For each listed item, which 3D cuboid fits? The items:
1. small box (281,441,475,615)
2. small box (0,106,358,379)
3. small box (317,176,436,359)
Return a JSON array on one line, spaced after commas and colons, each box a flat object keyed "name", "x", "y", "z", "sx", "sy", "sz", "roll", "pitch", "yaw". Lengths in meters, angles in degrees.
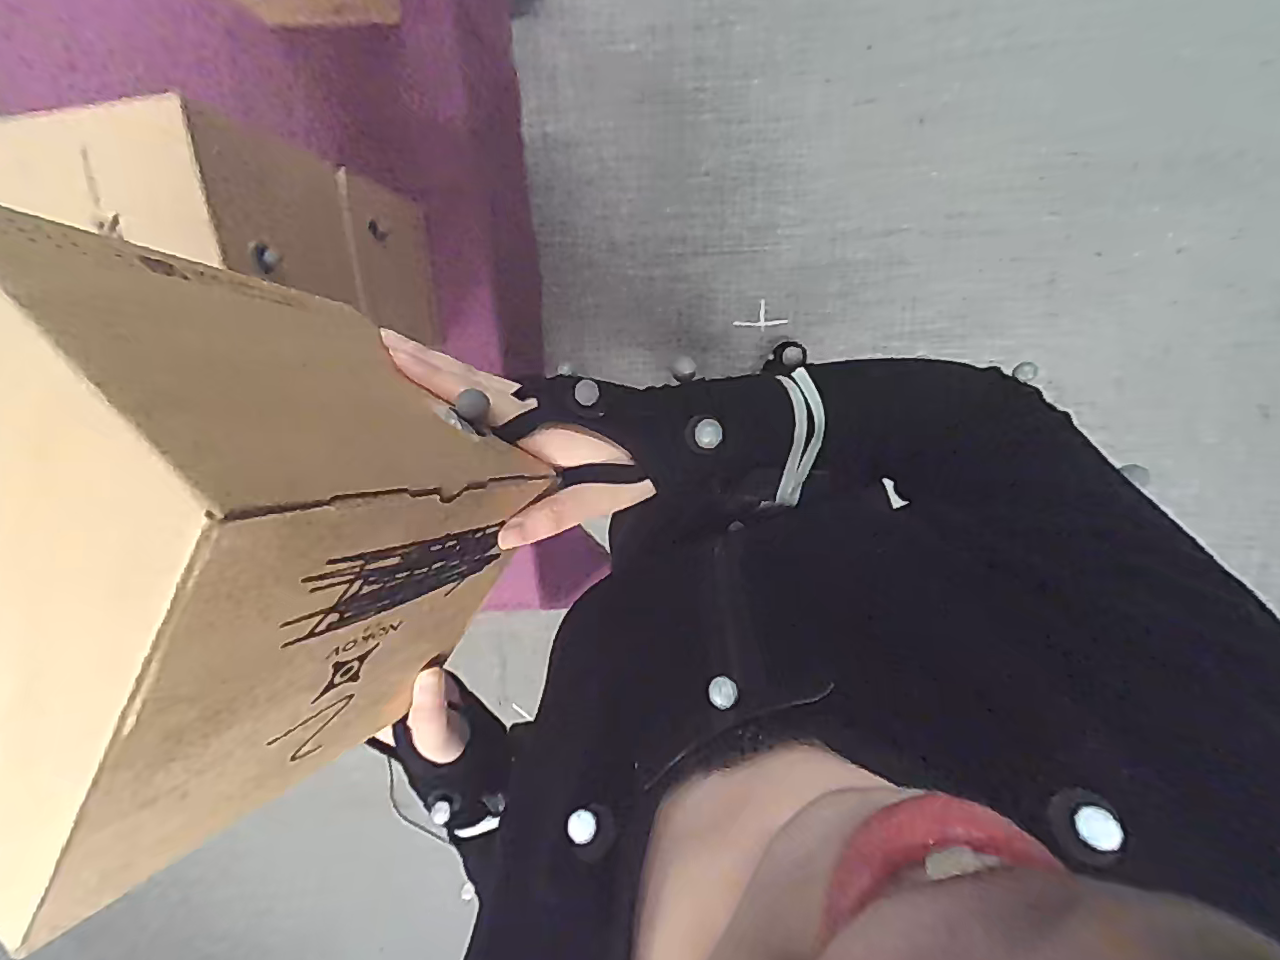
[{"name": "small box", "x": -0.326, "y": 0.054, "z": 0.711, "sx": 0.168, "sy": 0.176, "sz": 0.179, "roll": 3, "pitch": 105, "yaw": 3}, {"name": "small box", "x": -0.381, "y": -0.189, "z": 0.475, "sx": 0.168, "sy": 0.176, "sz": 0.179, "roll": -4, "pitch": 104, "yaw": 6}, {"name": "small box", "x": -0.360, "y": -0.233, "z": 0.633, "sx": 0.168, "sy": 0.176, "sz": 0.179, "roll": -1, "pitch": 106, "yaw": 6}]
